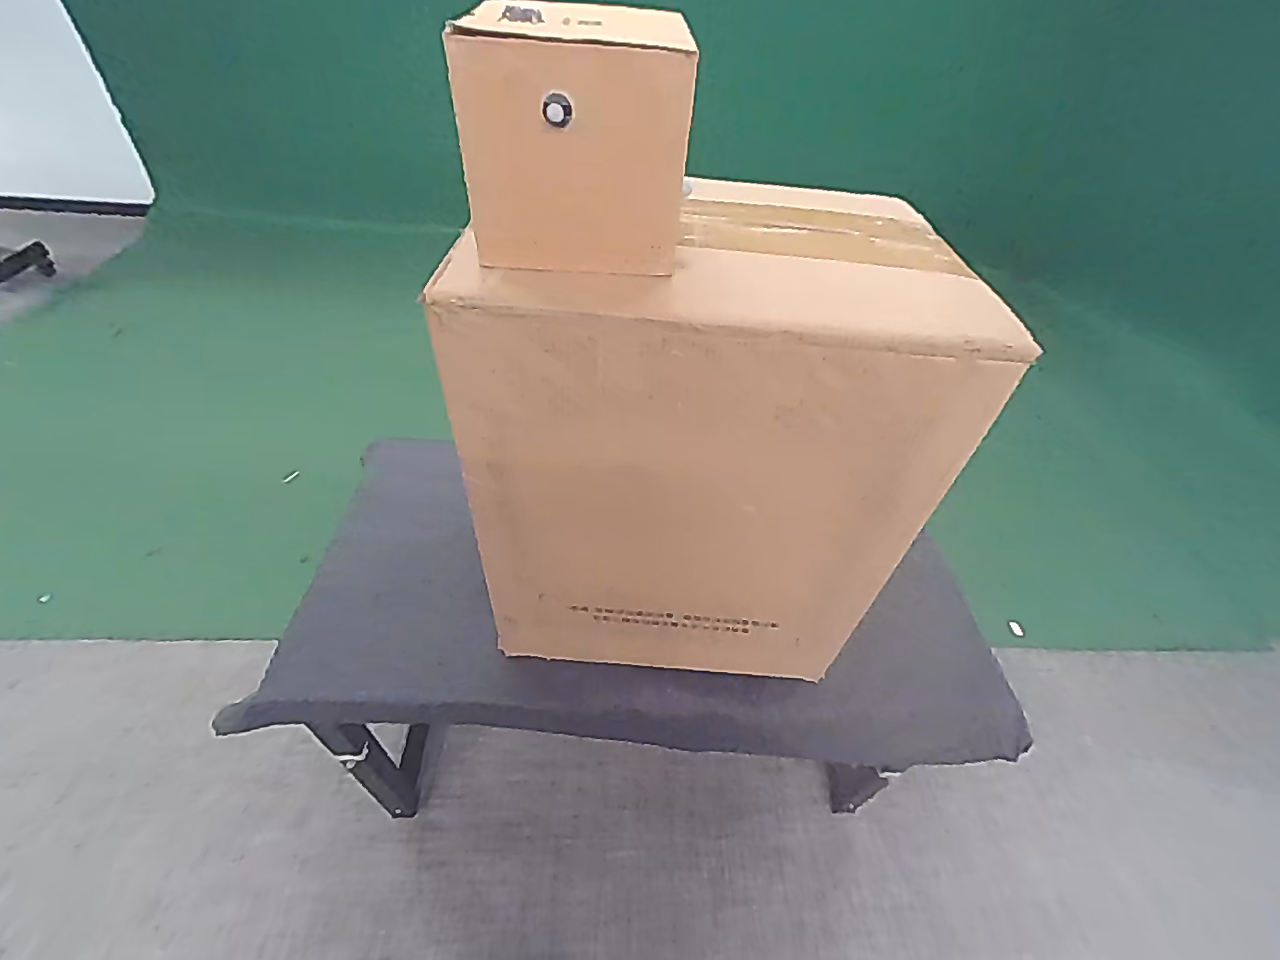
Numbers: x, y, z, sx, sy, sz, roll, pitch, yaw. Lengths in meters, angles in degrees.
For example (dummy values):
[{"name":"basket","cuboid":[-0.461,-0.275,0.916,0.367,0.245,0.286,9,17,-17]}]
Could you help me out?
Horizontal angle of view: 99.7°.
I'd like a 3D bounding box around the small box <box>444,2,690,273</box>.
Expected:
[{"name":"small box","cuboid":[-0.050,-0.306,0.489,0.179,0.176,0.168,5,49,0]}]
